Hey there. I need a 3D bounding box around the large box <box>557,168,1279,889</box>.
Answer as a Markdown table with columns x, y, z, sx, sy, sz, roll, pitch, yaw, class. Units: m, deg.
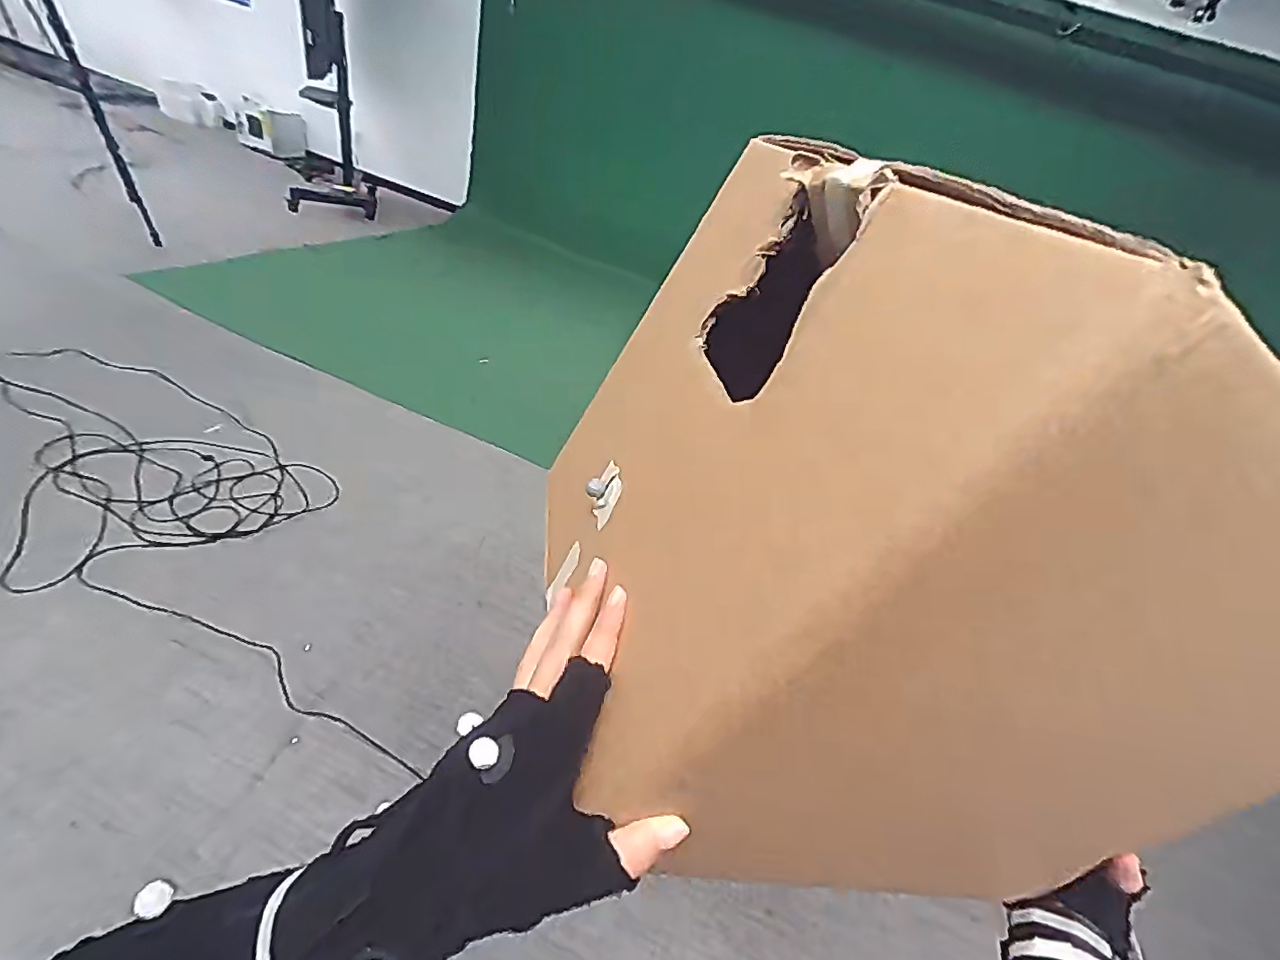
| x | y | z | sx | sy | sz | roll | pitch | yaw | class |
| --- | --- | --- | --- | --- | --- | --- | --- | --- | --- |
| 0.189 | 0.053 | 0.393 | 0.408 | 0.320 | 0.320 | 24 | 29 | -25 | large box |
